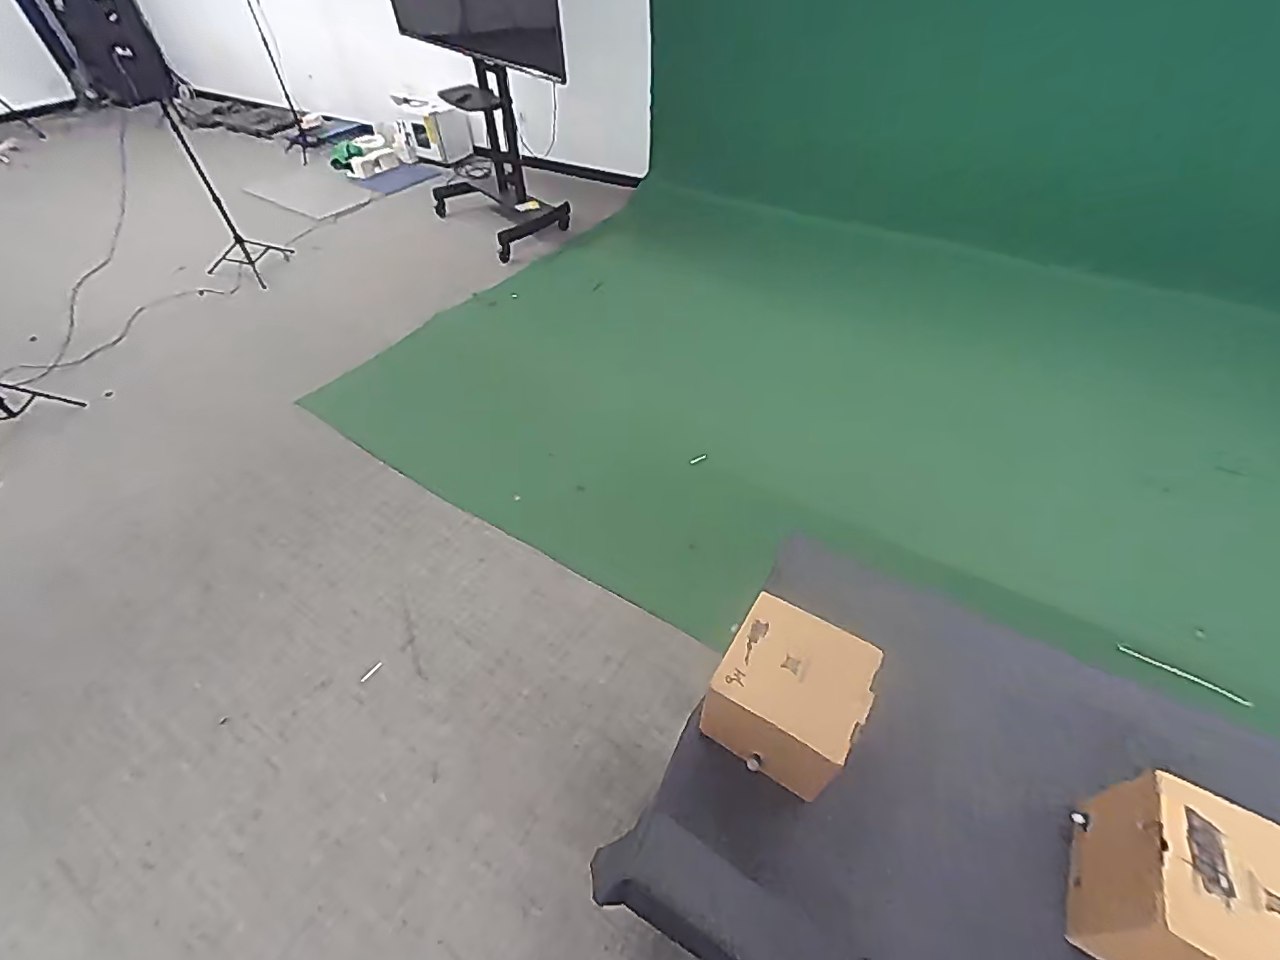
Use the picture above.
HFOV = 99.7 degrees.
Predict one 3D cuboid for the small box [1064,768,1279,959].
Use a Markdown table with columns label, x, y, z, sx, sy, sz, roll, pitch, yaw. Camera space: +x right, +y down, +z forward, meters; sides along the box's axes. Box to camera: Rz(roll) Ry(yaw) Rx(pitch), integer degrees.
| label | x | y | z | sx | sy | sz | roll | pitch | yaw |
| --- | --- | --- | --- | --- | --- | --- | --- | --- | --- |
| small box | 0.602 | 0.456 | 0.582 | 0.179 | 0.176 | 0.168 | 25 | 53 | 21 |

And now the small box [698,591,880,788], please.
| label | x | y | z | sx | sy | sz | roll | pitch | yaw |
| --- | --- | --- | --- | --- | --- | --- | --- | --- | --- |
| small box | 0.195 | 0.293 | 0.745 | 0.179 | 0.176 | 0.168 | 26 | 53 | 22 |
